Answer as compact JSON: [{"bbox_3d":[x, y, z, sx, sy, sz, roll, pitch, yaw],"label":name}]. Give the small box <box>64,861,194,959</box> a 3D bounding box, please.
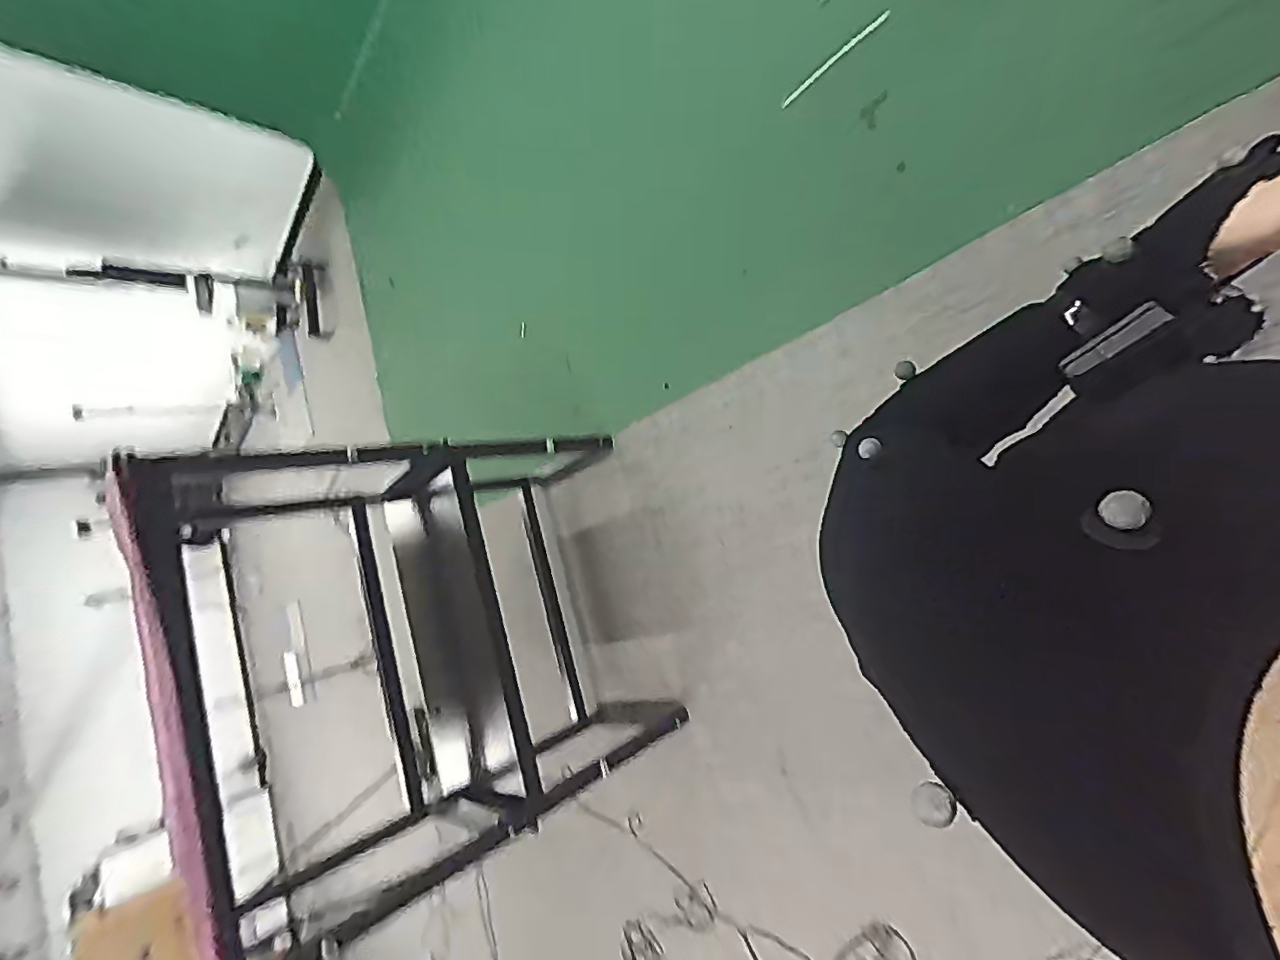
[{"bbox_3d":[-0.990,0.883,1.054,0.179,0.176,0.168,-26,76,42],"label":"small box"}]
